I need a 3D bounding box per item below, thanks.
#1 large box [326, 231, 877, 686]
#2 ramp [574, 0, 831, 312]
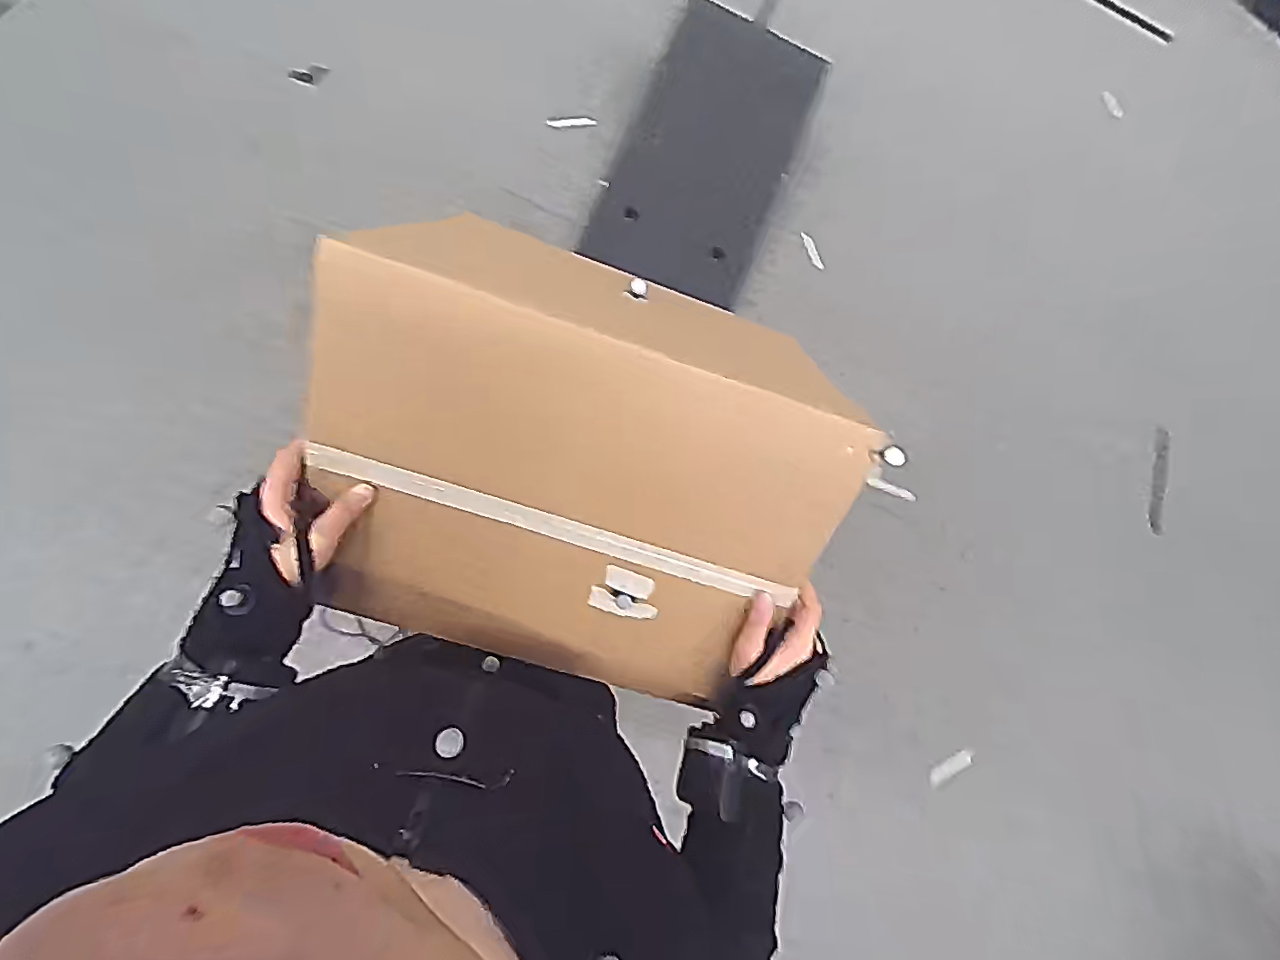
[{"bbox_3d":[-0.053,-0.041,0.579,0.408,0.320,0.320,16,119,-8],"label":"large box"},{"bbox_3d":[0.188,-0.930,1.632,0.509,0.206,0.991,21,76,-7],"label":"ramp"}]
